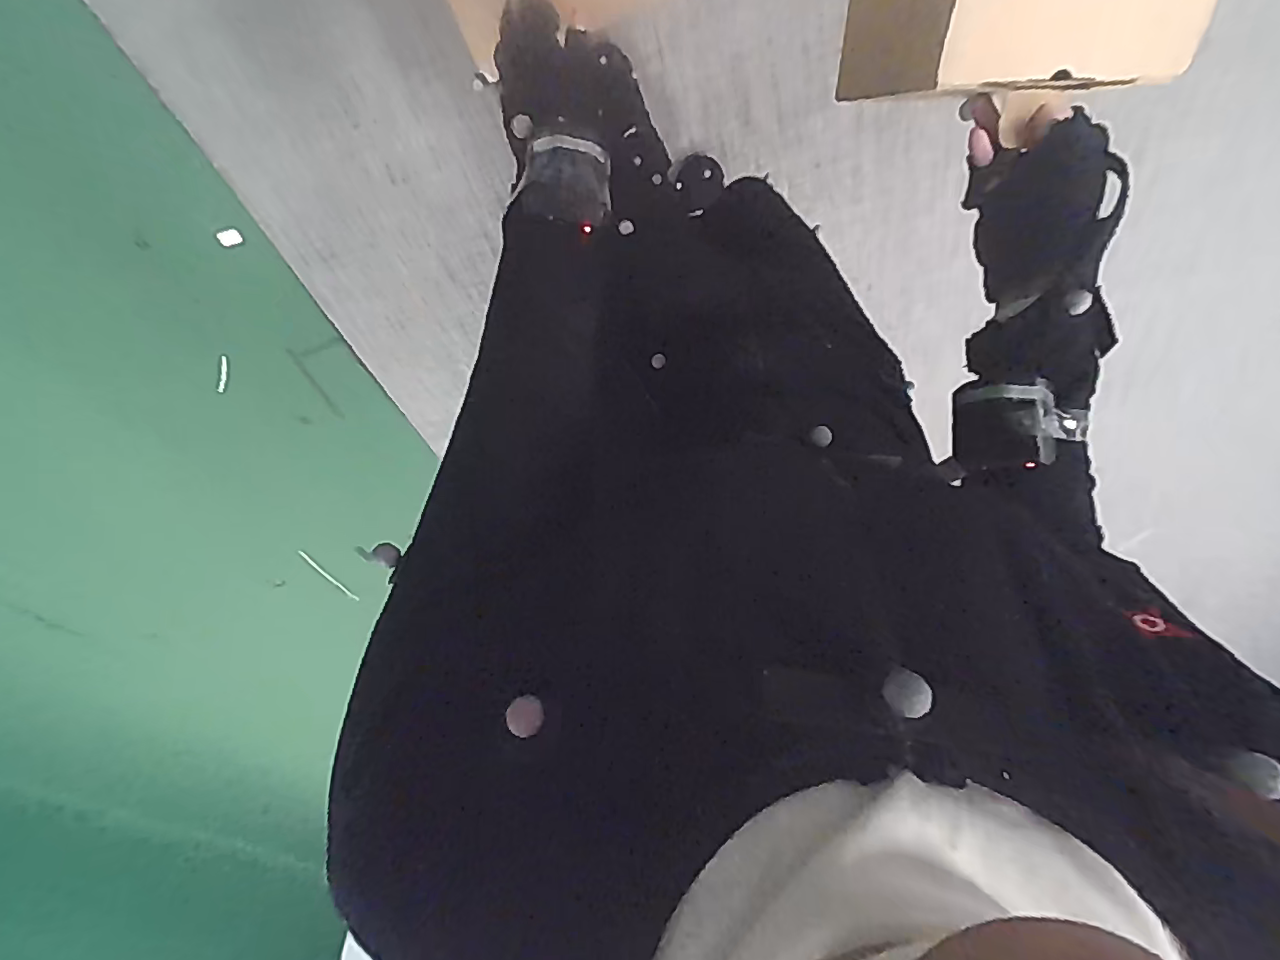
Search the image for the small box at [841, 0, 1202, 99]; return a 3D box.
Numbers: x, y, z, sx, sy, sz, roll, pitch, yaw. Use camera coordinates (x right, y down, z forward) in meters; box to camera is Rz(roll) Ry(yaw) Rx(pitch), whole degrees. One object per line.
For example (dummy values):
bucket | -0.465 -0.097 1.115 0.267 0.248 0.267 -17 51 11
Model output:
small box | 0.257 -0.371 0.372 0.168 0.176 0.179 -4 123 -4
